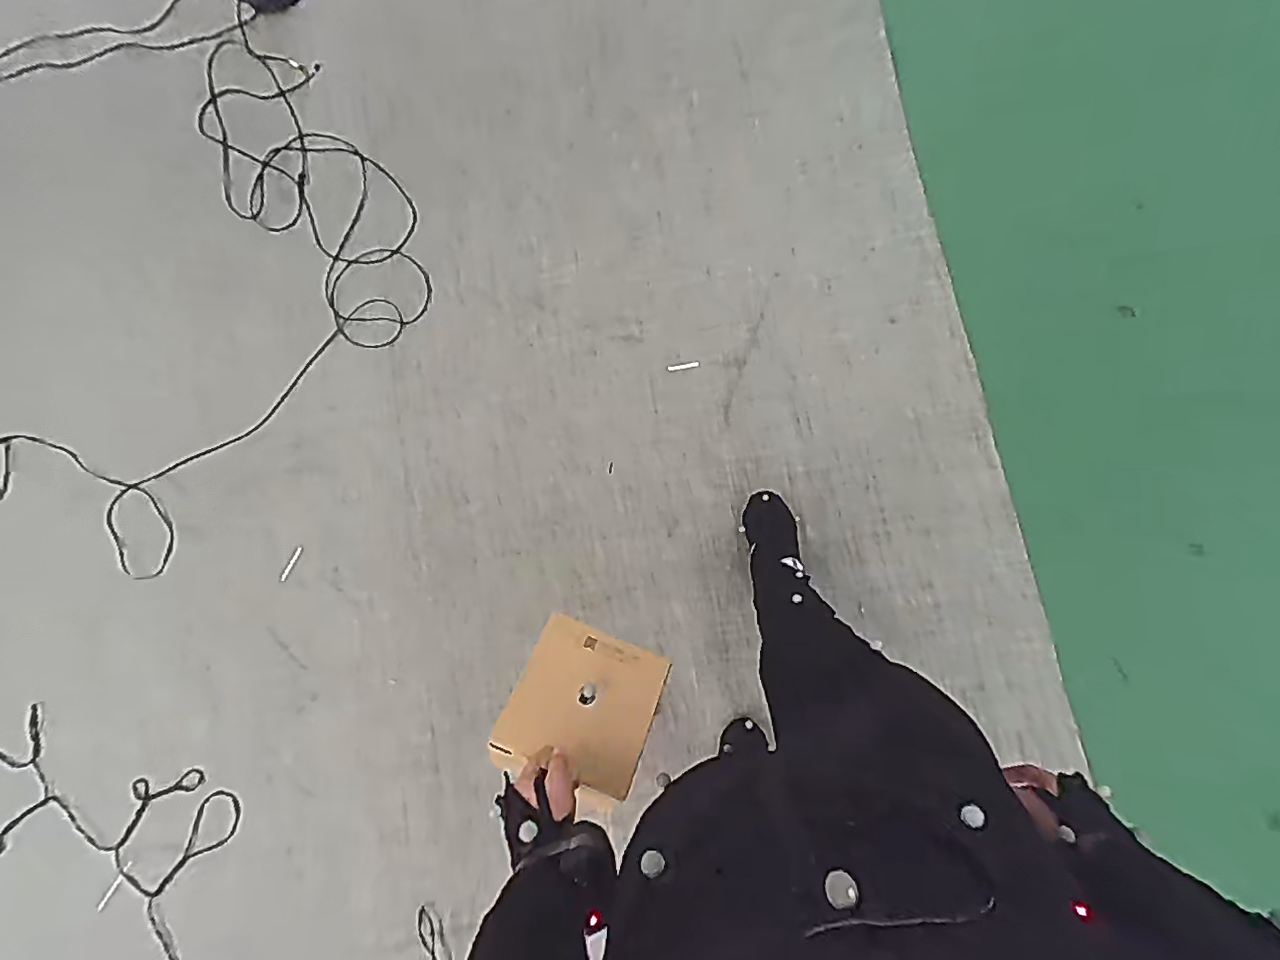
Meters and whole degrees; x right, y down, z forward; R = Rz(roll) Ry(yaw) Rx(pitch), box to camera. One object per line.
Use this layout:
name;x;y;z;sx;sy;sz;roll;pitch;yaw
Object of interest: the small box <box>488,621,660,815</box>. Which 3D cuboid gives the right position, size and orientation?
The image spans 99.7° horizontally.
small box;-0.082;0.308;0.704;0.168;0.179;0.176;21;53;3
